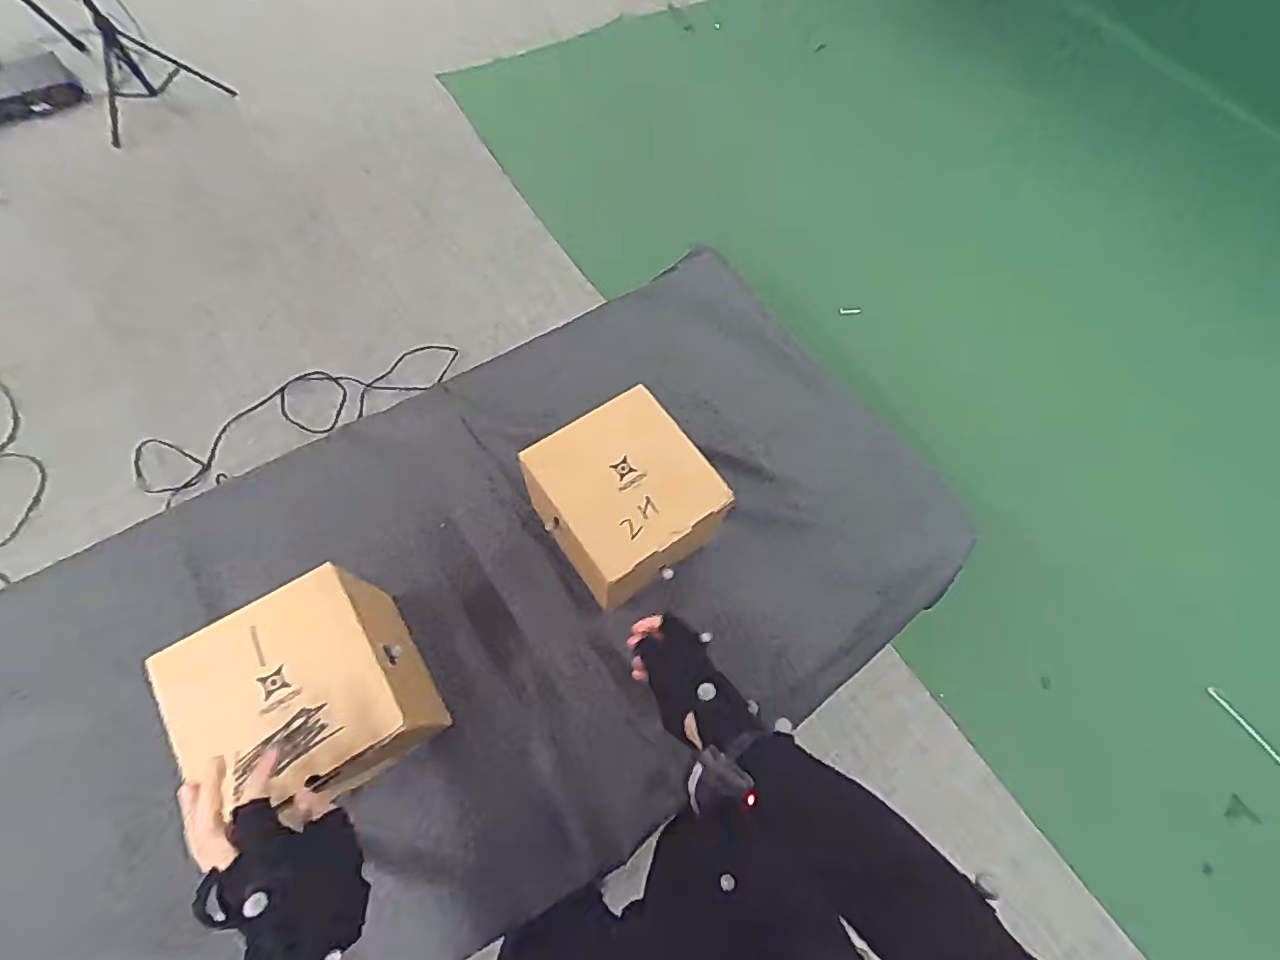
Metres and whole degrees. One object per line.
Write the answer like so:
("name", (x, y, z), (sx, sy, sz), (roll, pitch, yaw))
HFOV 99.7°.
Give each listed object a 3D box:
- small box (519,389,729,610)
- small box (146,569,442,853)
("small box", (-0.024, 0.031, 0.649), (0.168, 0.176, 0.179), (-32, 72, -16))
("small box", (-0.324, 0.219, 0.541), (0.168, 0.176, 0.179), (-30, 71, -17))
